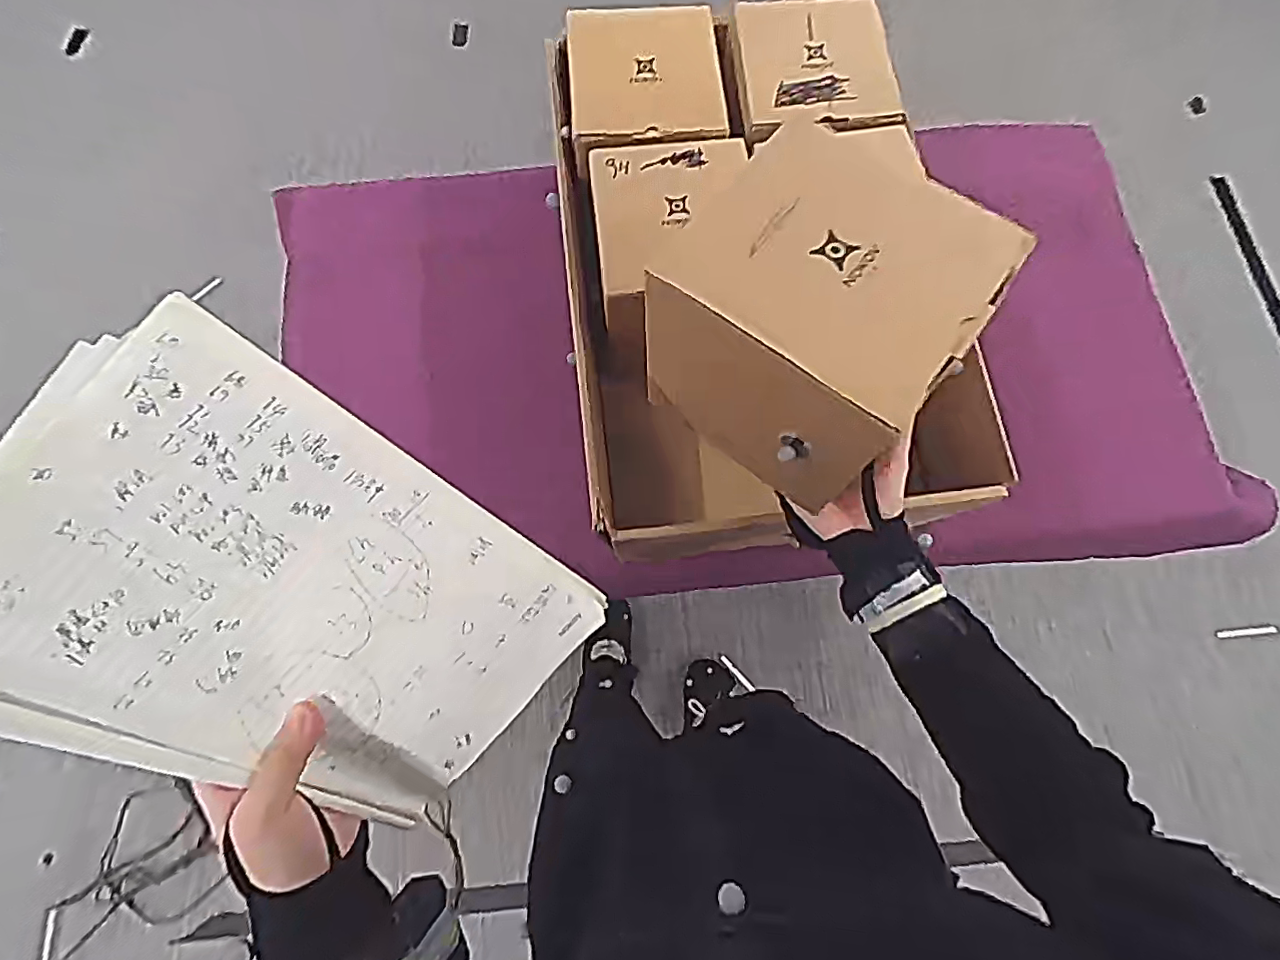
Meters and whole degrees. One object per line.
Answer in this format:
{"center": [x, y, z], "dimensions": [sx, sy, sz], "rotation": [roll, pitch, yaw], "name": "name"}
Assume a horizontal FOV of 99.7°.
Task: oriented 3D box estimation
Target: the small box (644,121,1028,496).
{"center": [0.121, -0.108, 0.401], "dimensions": [0.179, 0.176, 0.168], "rotation": [37, 74, 15], "name": "small box"}
